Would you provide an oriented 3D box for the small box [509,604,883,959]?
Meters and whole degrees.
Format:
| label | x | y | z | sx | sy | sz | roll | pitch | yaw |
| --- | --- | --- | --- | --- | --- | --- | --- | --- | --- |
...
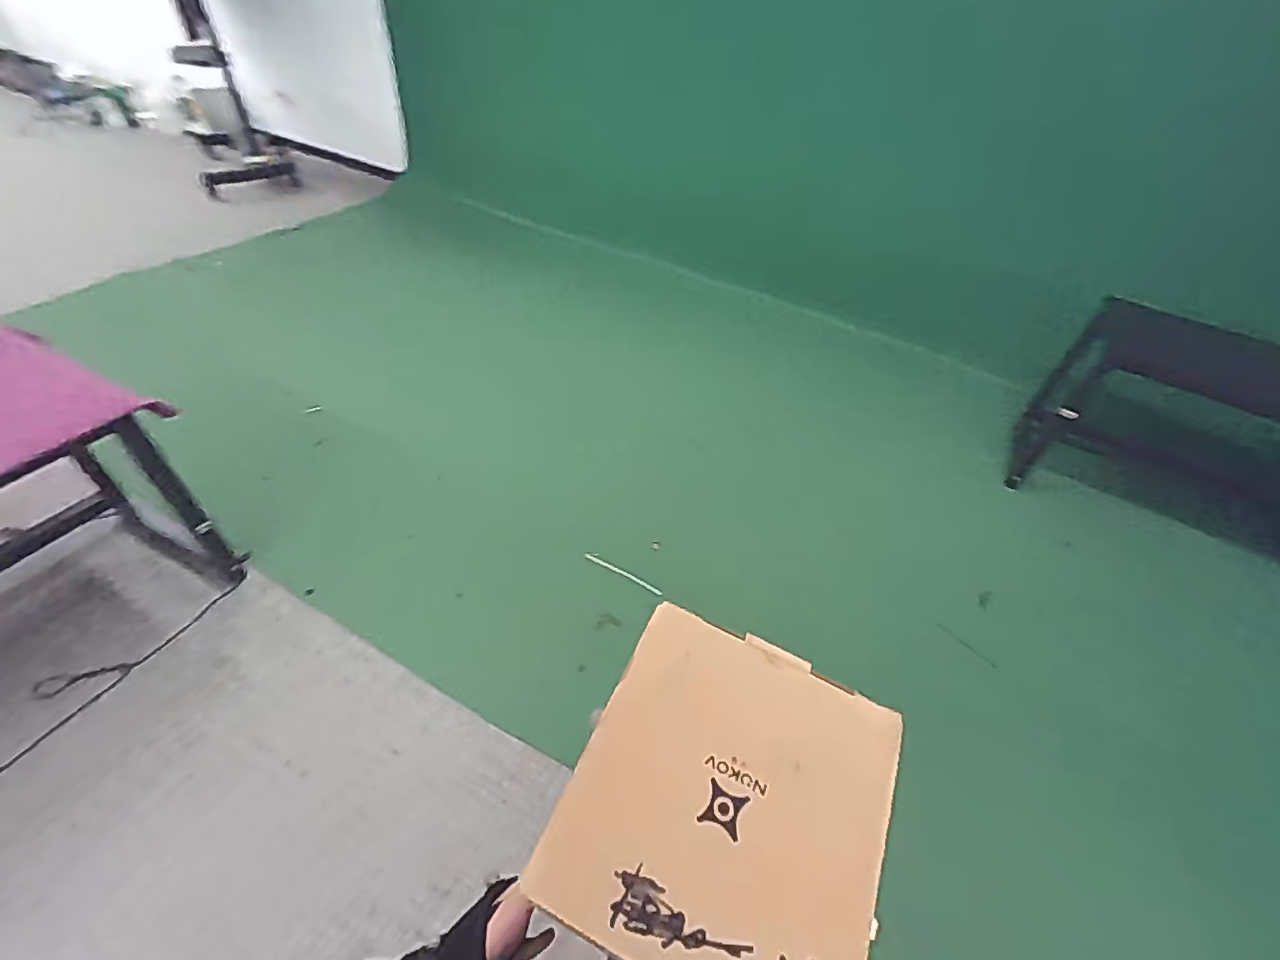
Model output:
| label | x | y | z | sx | sy | sz | roll | pitch | yaw |
| --- | --- | --- | --- | --- | --- | --- | --- | --- | --- |
| small box | 0.035 | 0.222 | 0.363 | 0.168 | 0.176 | 0.179 | 23 | 55 | 12 |
